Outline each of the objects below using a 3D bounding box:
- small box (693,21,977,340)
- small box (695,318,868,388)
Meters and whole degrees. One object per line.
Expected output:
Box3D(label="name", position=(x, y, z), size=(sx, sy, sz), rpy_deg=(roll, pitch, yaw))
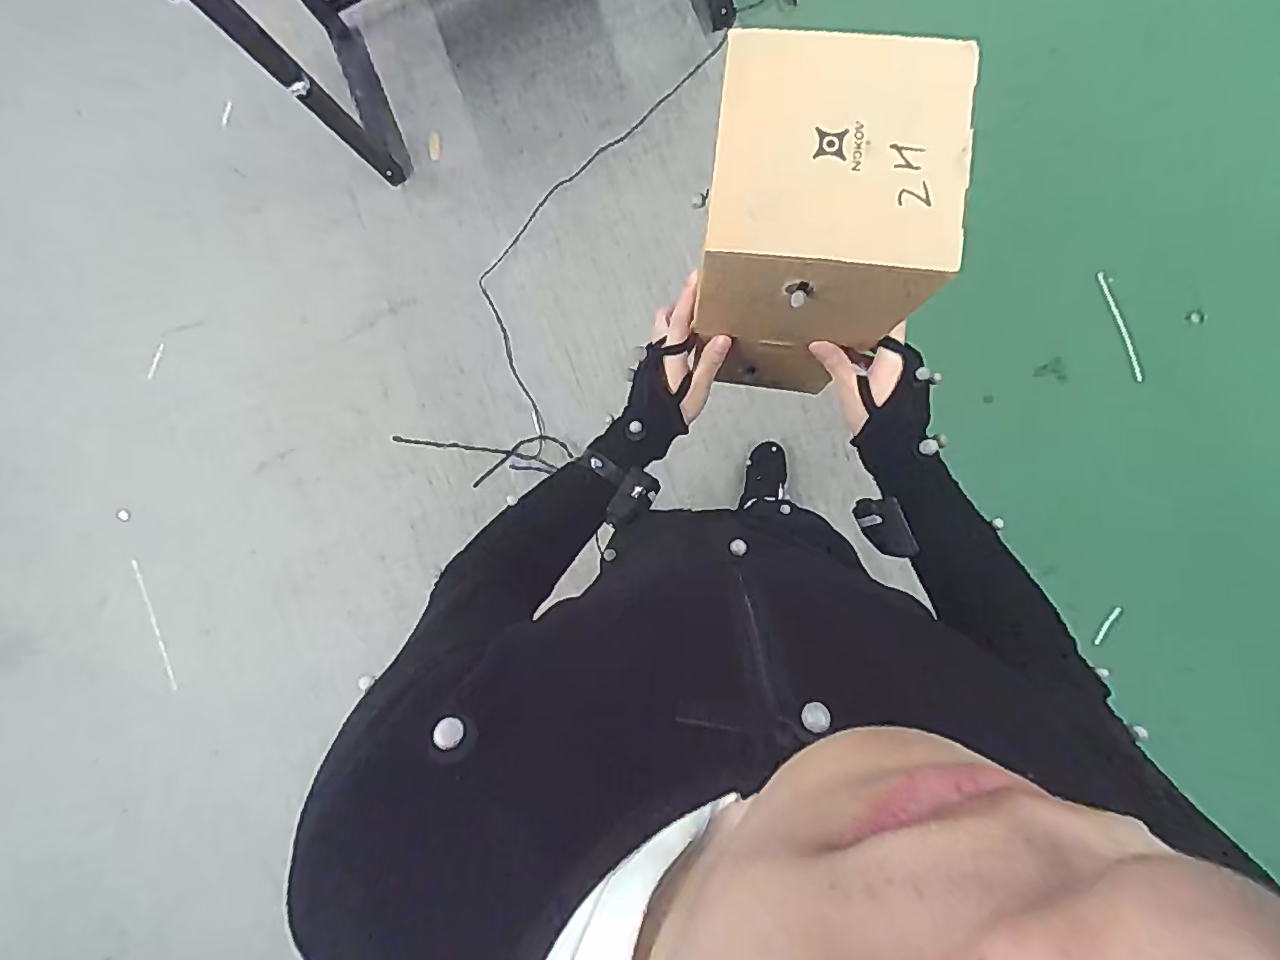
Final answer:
Box3D(label="small box", position=(0.140, -0.227, 0.451), size=(0.179, 0.176, 0.168), rpy_deg=(7, 87, 4))
Box3D(label="small box", position=(0.155, -0.218, 0.615), size=(0.168, 0.176, 0.179), rpy_deg=(7, 86, 4))
